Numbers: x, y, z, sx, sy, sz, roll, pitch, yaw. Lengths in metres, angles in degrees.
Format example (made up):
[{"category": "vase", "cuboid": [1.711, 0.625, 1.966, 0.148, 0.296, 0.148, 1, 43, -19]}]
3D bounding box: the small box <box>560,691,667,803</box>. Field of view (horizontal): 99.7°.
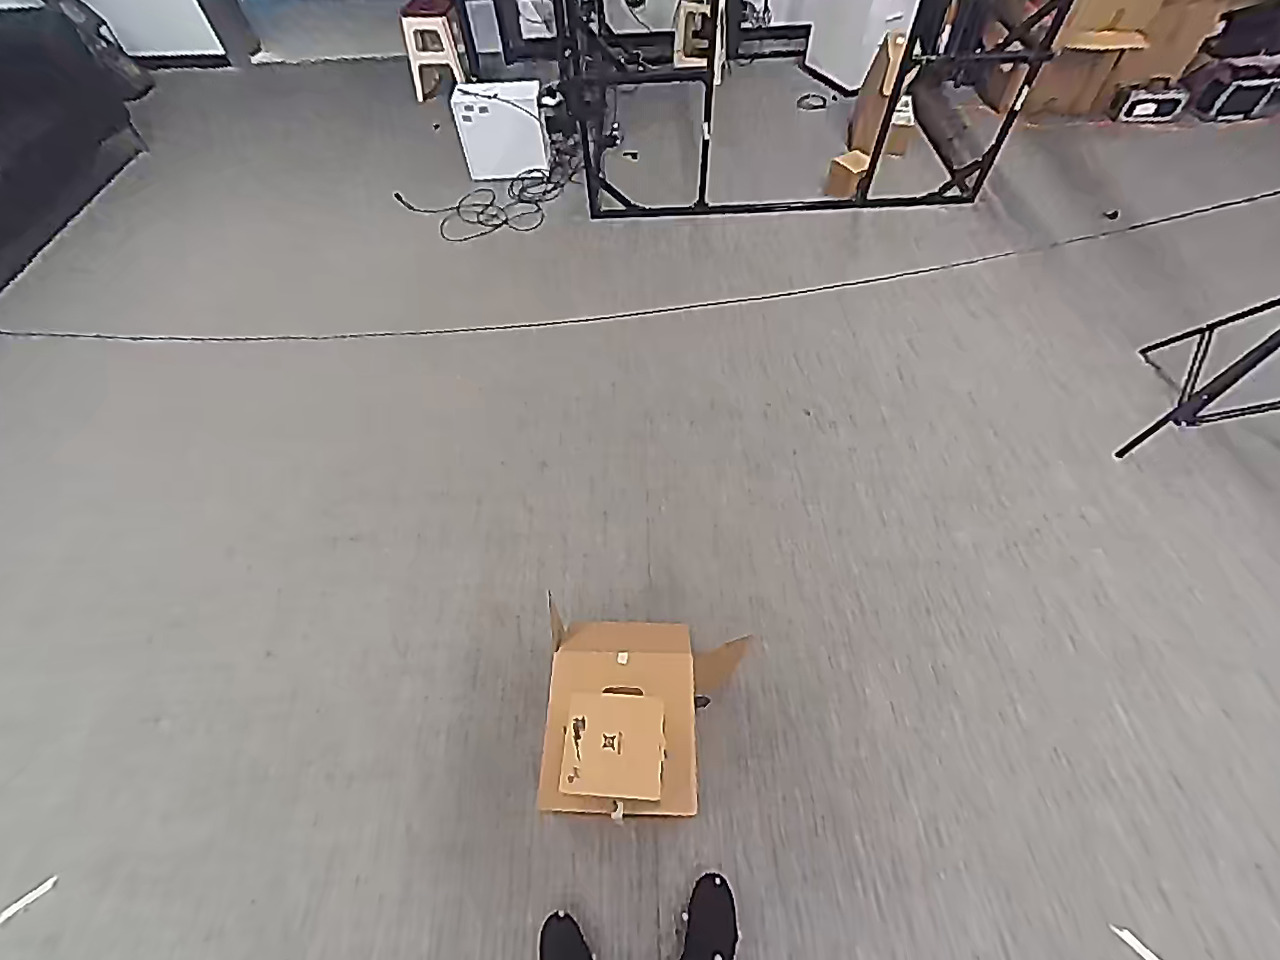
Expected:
[{"category": "small box", "cuboid": [-0.043, 0.509, 1.024, 0.179, 0.176, 0.168, 4, 58, 4]}]
